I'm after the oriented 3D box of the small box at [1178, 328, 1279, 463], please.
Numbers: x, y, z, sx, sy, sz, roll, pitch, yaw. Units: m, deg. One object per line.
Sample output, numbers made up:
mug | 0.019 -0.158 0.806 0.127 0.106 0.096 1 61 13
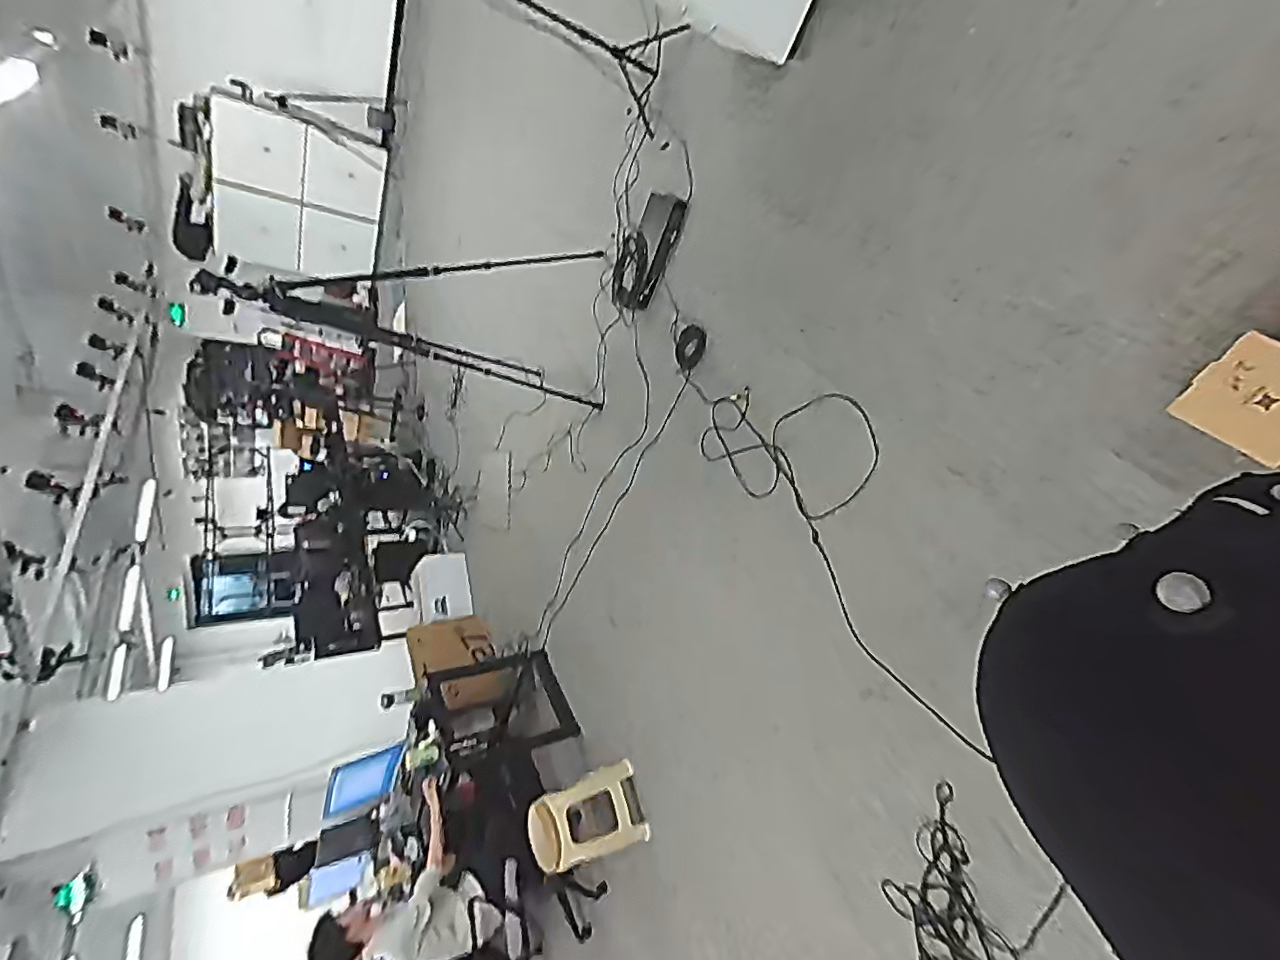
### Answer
small box | 1.106 -0.138 0.931 0.179 0.176 0.168 54 131 39
